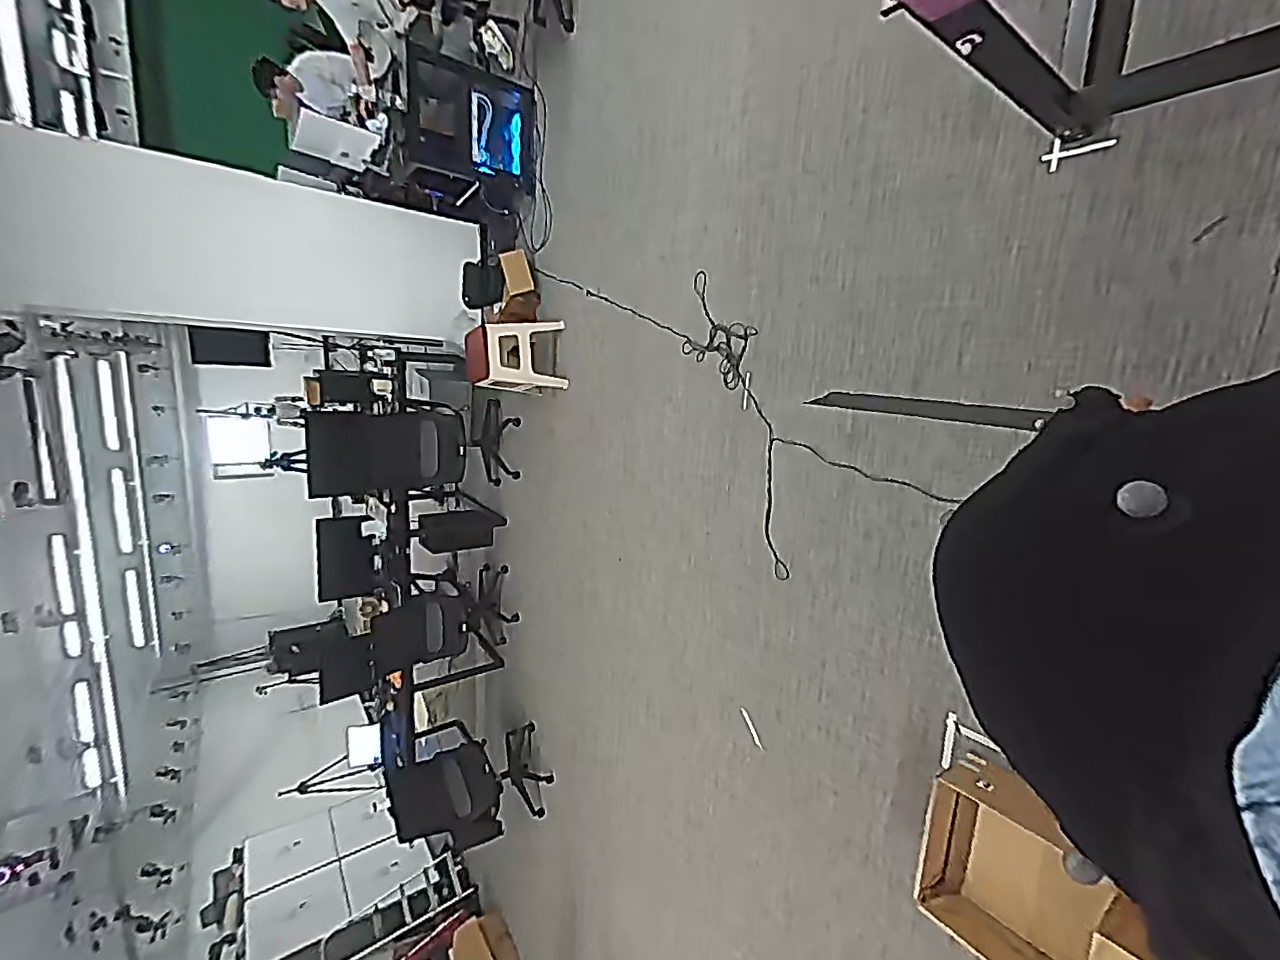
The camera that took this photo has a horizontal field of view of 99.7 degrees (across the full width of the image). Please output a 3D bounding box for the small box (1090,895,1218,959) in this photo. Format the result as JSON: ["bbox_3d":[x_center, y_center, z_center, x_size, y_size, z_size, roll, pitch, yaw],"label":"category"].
[{"bbox_3d":[1.045,1.012,1.104,0.168,0.176,0.179,14,106,53],"label":"small box"}]
